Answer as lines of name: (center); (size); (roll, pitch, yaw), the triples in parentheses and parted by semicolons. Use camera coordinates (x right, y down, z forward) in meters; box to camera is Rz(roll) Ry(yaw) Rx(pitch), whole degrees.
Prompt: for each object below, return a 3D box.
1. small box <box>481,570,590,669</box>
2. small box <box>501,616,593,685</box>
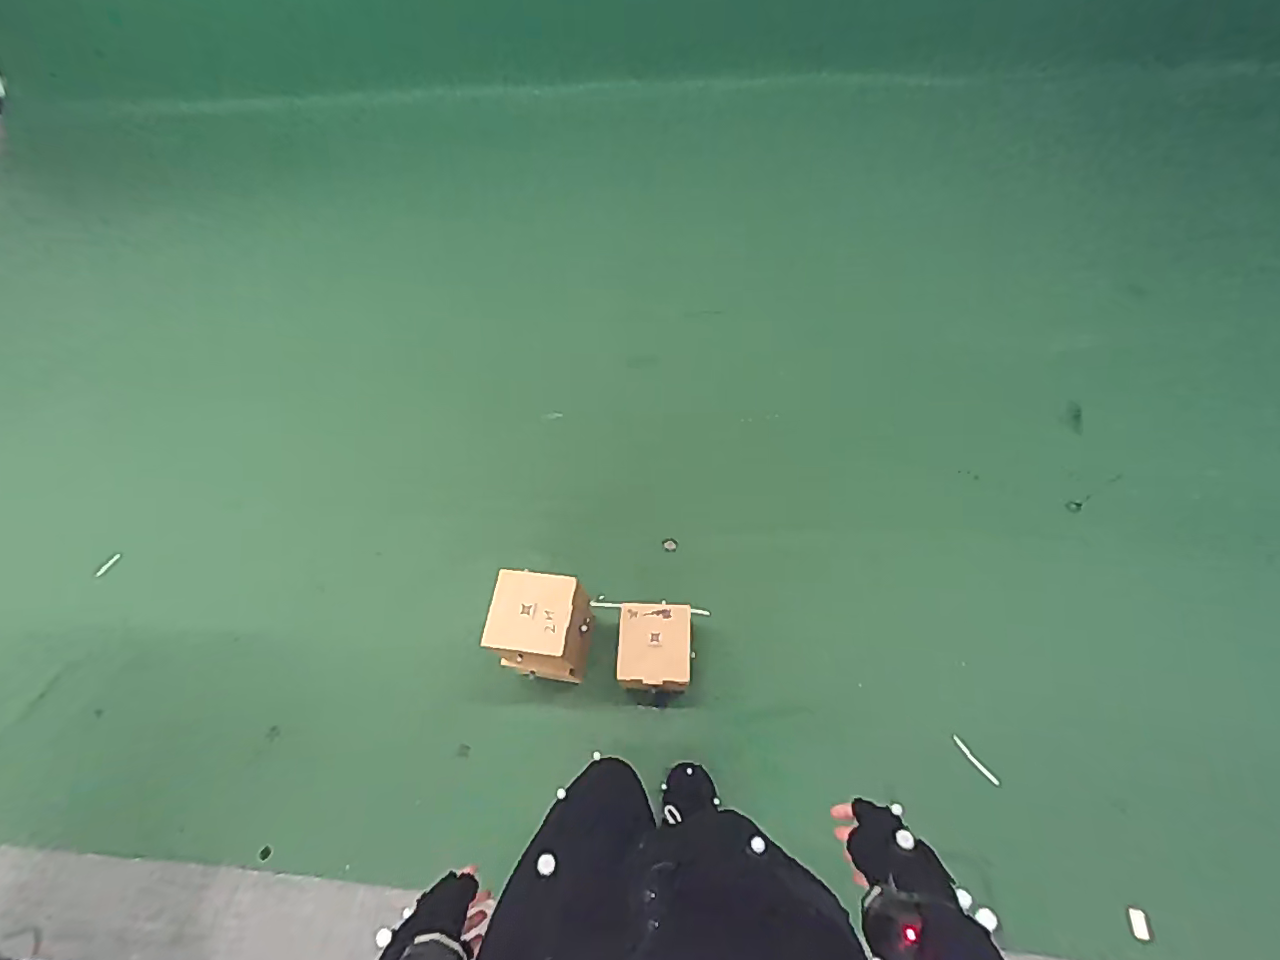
small box: (-0.222, 0.312, 1.192); (0.179, 0.176, 0.168); (6, 63, 8)
small box: (-0.220, 0.397, 1.334); (0.168, 0.176, 0.179); (7, 63, 8)
